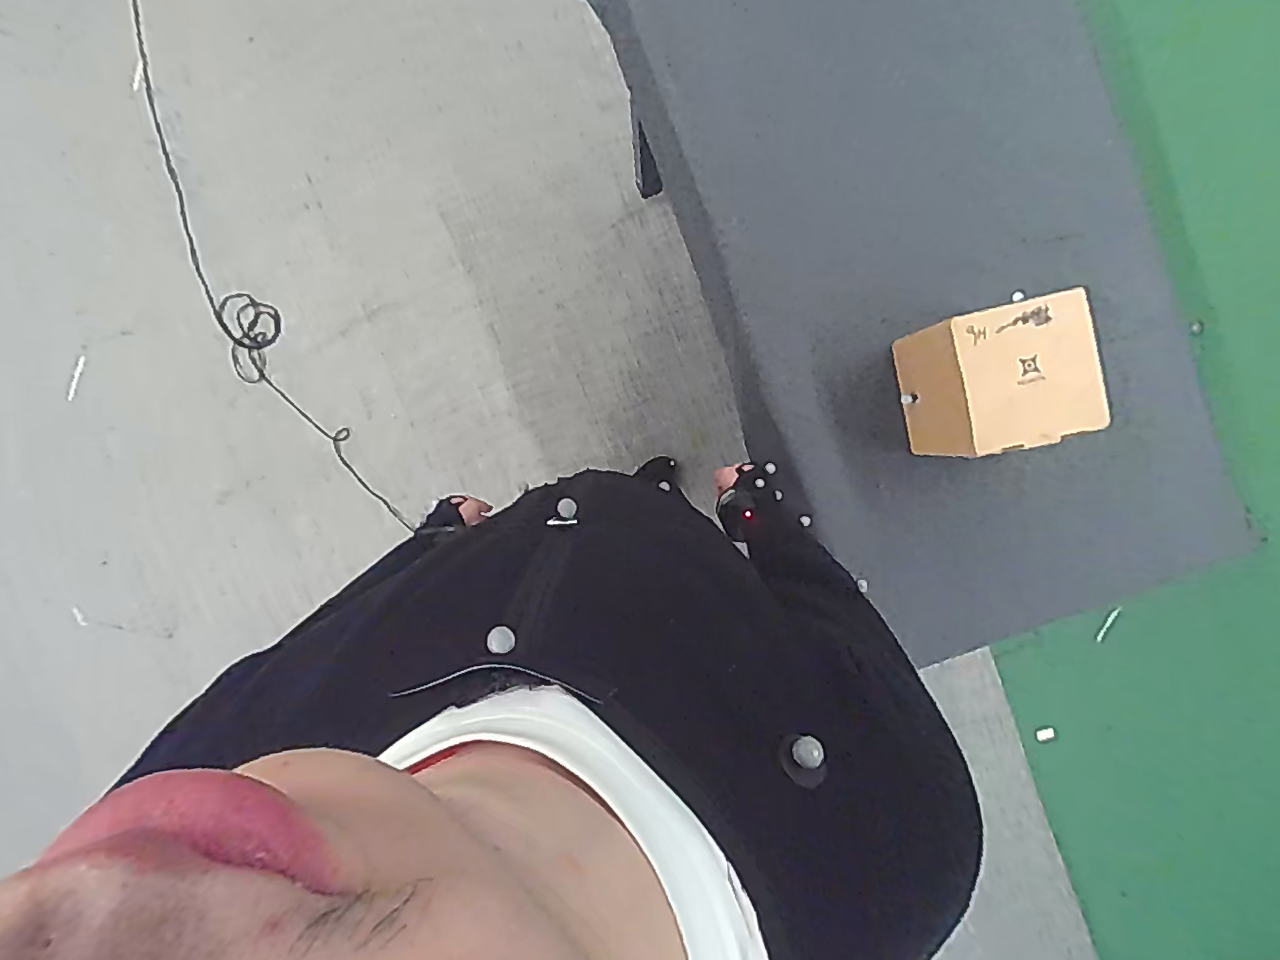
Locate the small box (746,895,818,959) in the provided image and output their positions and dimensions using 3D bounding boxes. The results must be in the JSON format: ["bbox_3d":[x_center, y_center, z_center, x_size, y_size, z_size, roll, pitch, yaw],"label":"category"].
[{"bbox_3d":[0.427,1.382,1.587,0.168,0.176,0.179,-19,94,0],"label":"small box"}]

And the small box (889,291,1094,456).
[{"bbox_3d":[0.471,-0.139,0.748,0.168,0.176,0.179,-13,95,2],"label":"small box"}]
